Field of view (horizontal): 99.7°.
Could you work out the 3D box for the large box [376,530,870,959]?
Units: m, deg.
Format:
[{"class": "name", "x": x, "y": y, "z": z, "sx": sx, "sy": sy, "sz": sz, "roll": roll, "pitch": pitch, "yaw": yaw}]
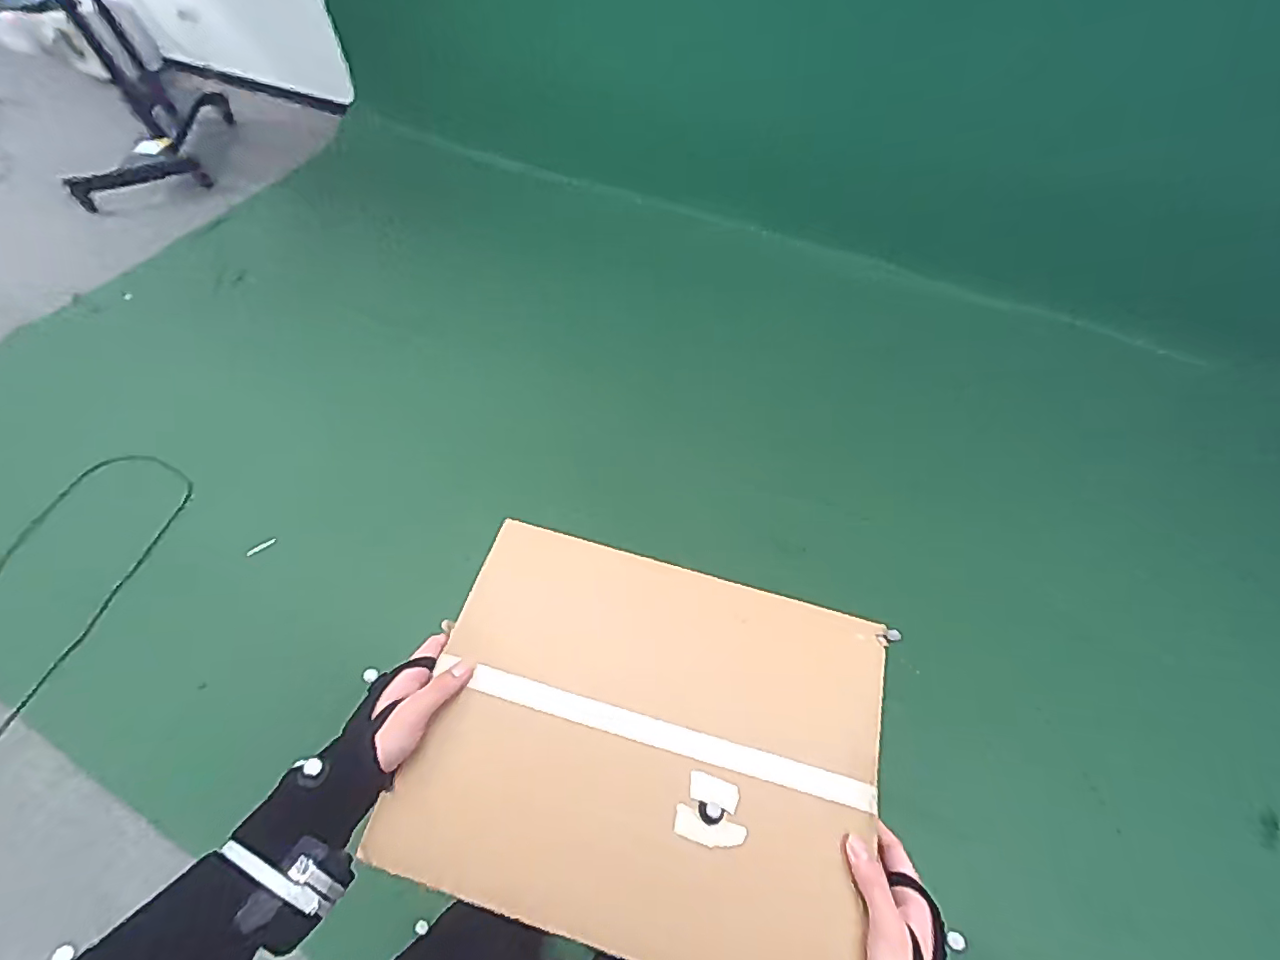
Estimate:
[{"class": "large box", "x": 0.000, "y": 0.300, "z": 0.629, "sx": 0.408, "sy": 0.320, "sz": 0.320, "roll": 15, "pitch": 61, "yaw": 5}]
